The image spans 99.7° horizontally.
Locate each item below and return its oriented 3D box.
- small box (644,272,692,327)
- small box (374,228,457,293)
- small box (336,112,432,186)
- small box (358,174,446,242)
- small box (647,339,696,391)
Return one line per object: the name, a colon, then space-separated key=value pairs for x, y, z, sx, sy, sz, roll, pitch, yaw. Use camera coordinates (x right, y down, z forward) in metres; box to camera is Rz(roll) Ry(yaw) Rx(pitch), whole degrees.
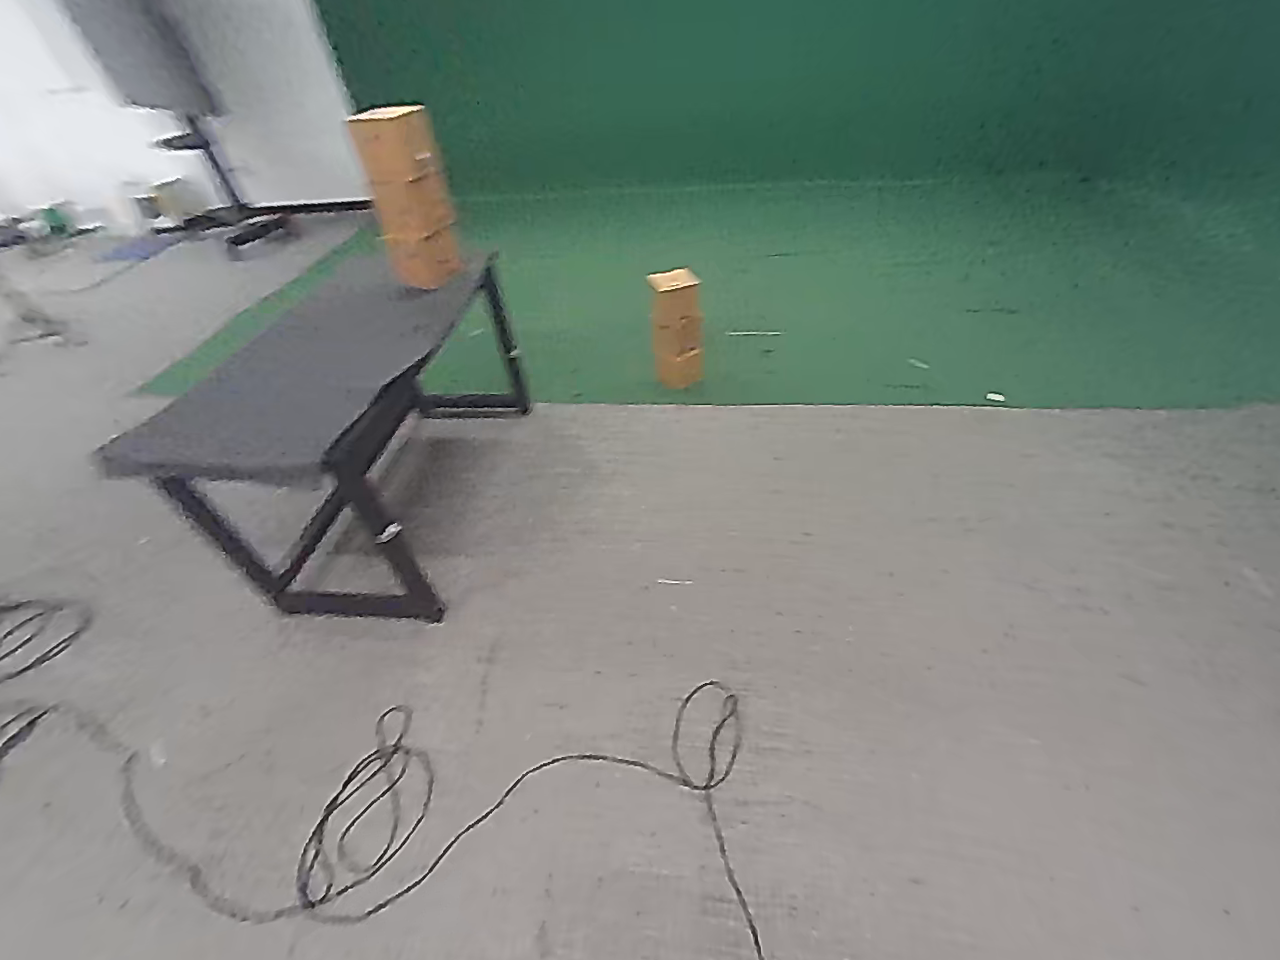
small box: x=0.123 y=-0.801 z=2.401 sx=0.168 sy=0.176 sz=0.179 roll=-17 pitch=44 yaw=-10
small box: x=-0.770 y=-0.766 z=1.878 sx=0.179 sy=0.176 sz=0.168 roll=14 pitch=47 yaw=23
small box: x=-0.782 y=-1.020 z=1.671 sx=0.179 sy=0.176 sz=0.168 roll=7 pitch=45 yaw=15
small box: x=-0.773 y=-0.896 z=1.779 sx=0.179 sy=0.176 sz=0.168 roll=10 pitch=45 yaw=20
small box: x=0.156 y=-0.550 z=2.612 sx=0.168 sy=0.176 sz=0.179 roll=-31 pitch=48 yaw=-24
